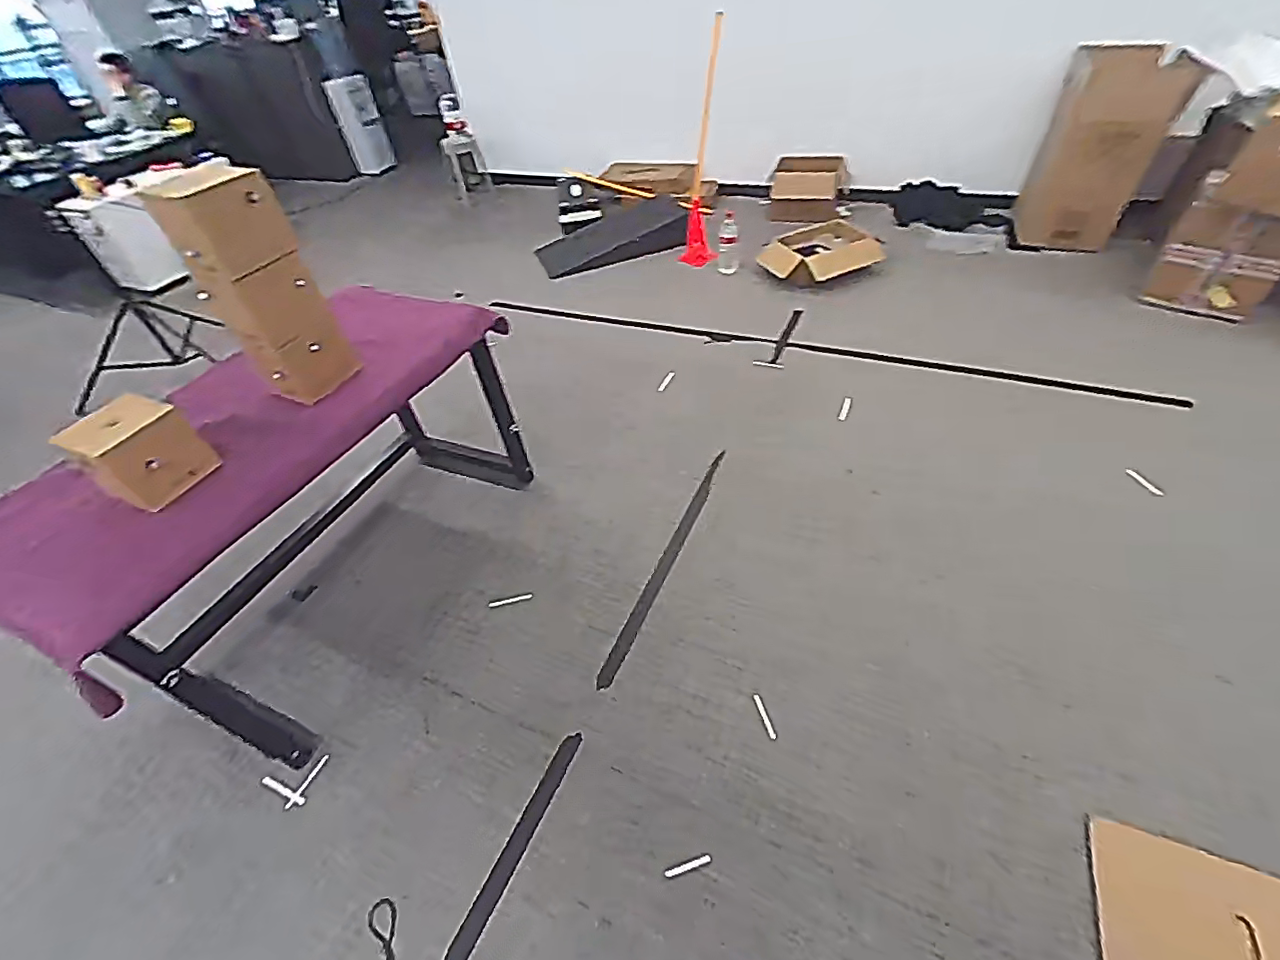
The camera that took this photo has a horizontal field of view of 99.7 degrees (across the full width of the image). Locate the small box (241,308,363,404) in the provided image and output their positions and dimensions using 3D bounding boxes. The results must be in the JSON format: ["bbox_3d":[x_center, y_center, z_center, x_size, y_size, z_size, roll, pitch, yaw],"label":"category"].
[{"bbox_3d":[-0.870,-0.323,1.410,0.168,0.176,0.179,17,50,22],"label":"small box"}]

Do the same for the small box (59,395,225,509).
[{"bbox_3d":[-1.072,-0.059,1.181,0.179,0.176,0.168,14,49,21],"label":"small box"}]

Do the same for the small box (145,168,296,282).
[{"bbox_3d":[-0.896,-0.558,1.180,0.168,0.176,0.179,16,51,22],"label":"small box"}]
